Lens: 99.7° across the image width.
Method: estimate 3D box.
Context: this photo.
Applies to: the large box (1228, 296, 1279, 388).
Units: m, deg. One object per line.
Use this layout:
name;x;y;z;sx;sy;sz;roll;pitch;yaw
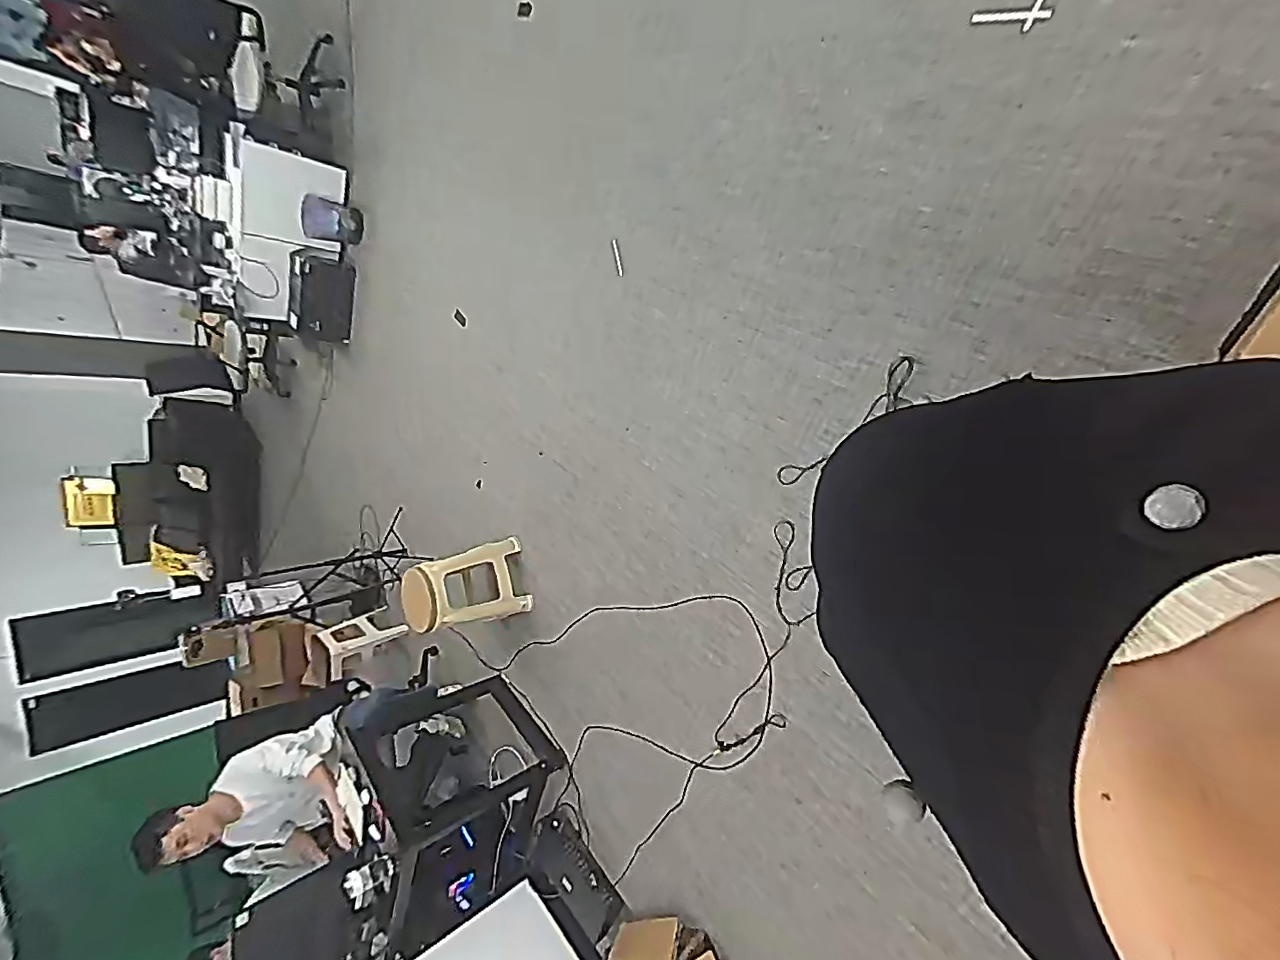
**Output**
large box;1.092;-0.216;0.660;0.408;0.320;0.320;37;119;34
